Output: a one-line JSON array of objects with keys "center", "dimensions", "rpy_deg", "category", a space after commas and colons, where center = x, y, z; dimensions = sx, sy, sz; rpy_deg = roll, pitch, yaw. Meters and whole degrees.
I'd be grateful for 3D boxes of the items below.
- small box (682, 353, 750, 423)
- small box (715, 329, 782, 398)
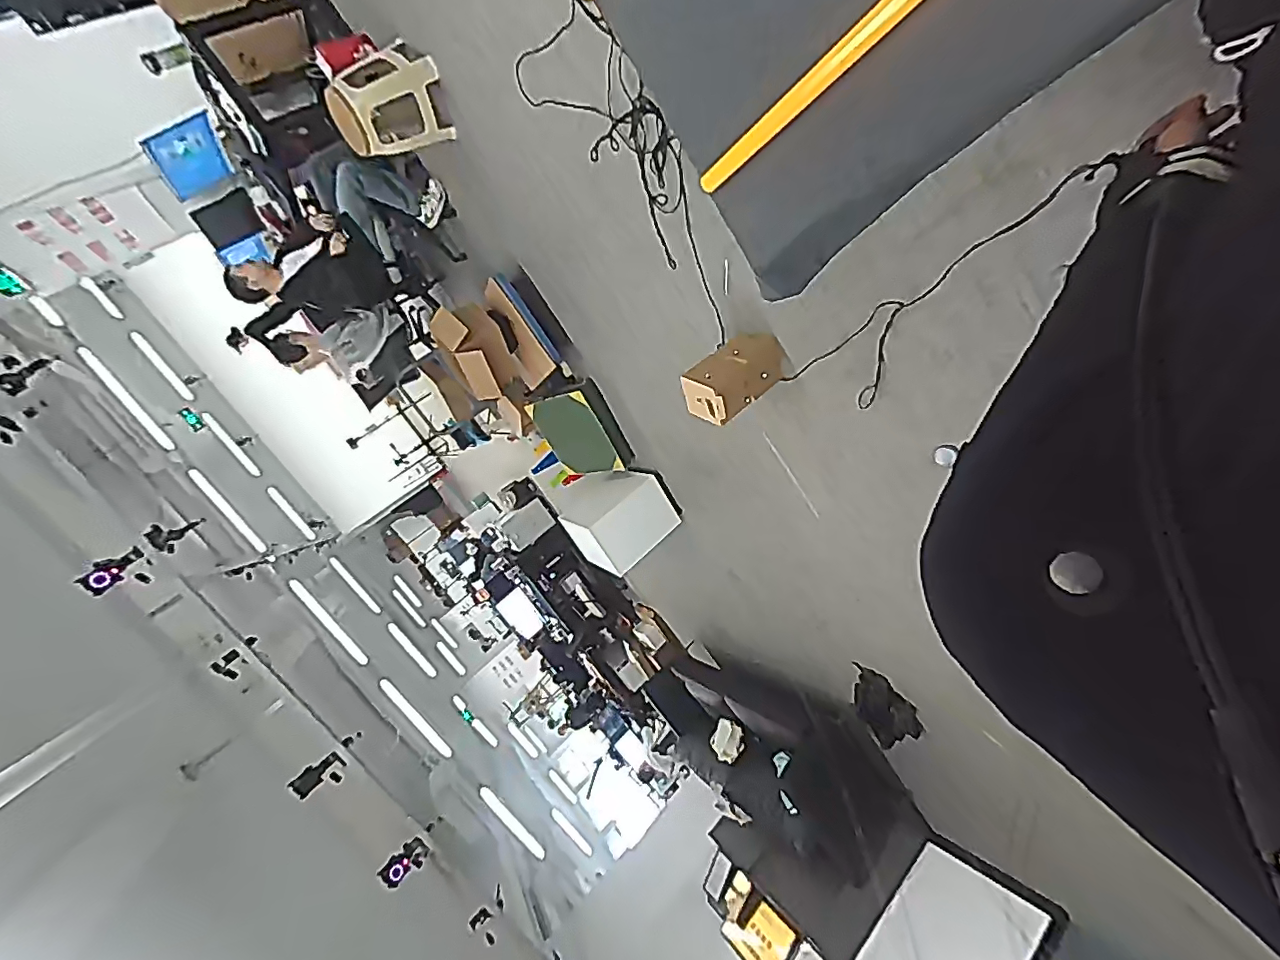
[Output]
[{"center": [0.285, -0.341, 1.965], "dimensions": [0.179, 0.176, 0.168], "rpy_deg": [32, 152, 42], "category": "small box"}, {"center": [0.410, -0.437, 2.014], "dimensions": [0.168, 0.176, 0.179], "rpy_deg": [28, 149, 46], "category": "small box"}]
